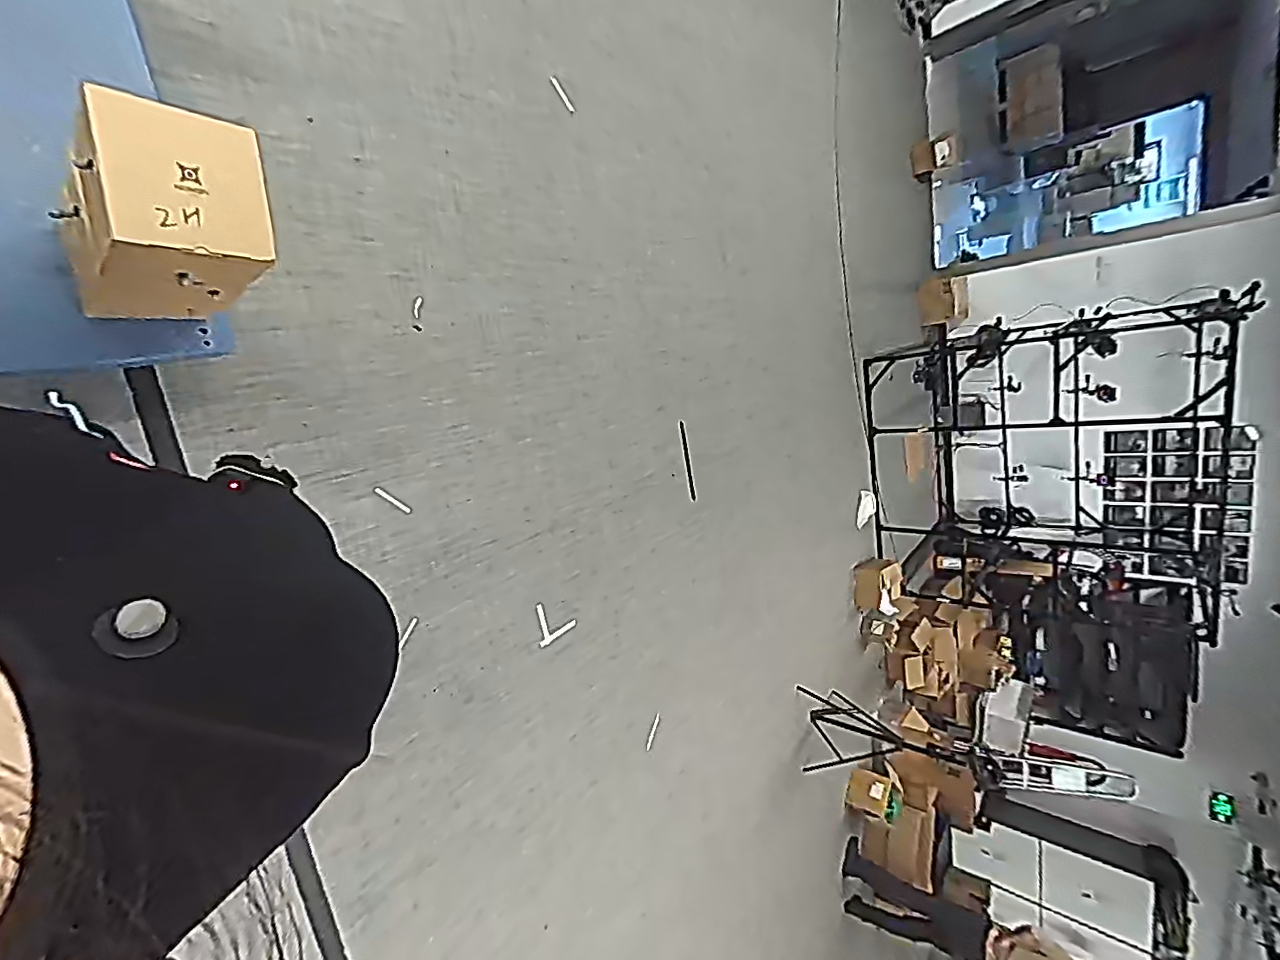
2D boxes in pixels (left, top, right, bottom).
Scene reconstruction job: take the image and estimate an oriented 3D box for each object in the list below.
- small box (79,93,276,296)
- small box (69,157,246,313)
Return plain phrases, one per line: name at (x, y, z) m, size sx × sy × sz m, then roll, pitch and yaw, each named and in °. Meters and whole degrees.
small box at (-0.624, -0.364, 0.731) m, size 0.168 × 0.176 × 0.179 m, roll -12°, pitch 100°, yaw -48°
small box at (-0.748, -0.362, 0.840) m, size 0.179 × 0.176 × 0.168 m, roll -15°, pitch 101°, yaw -49°
